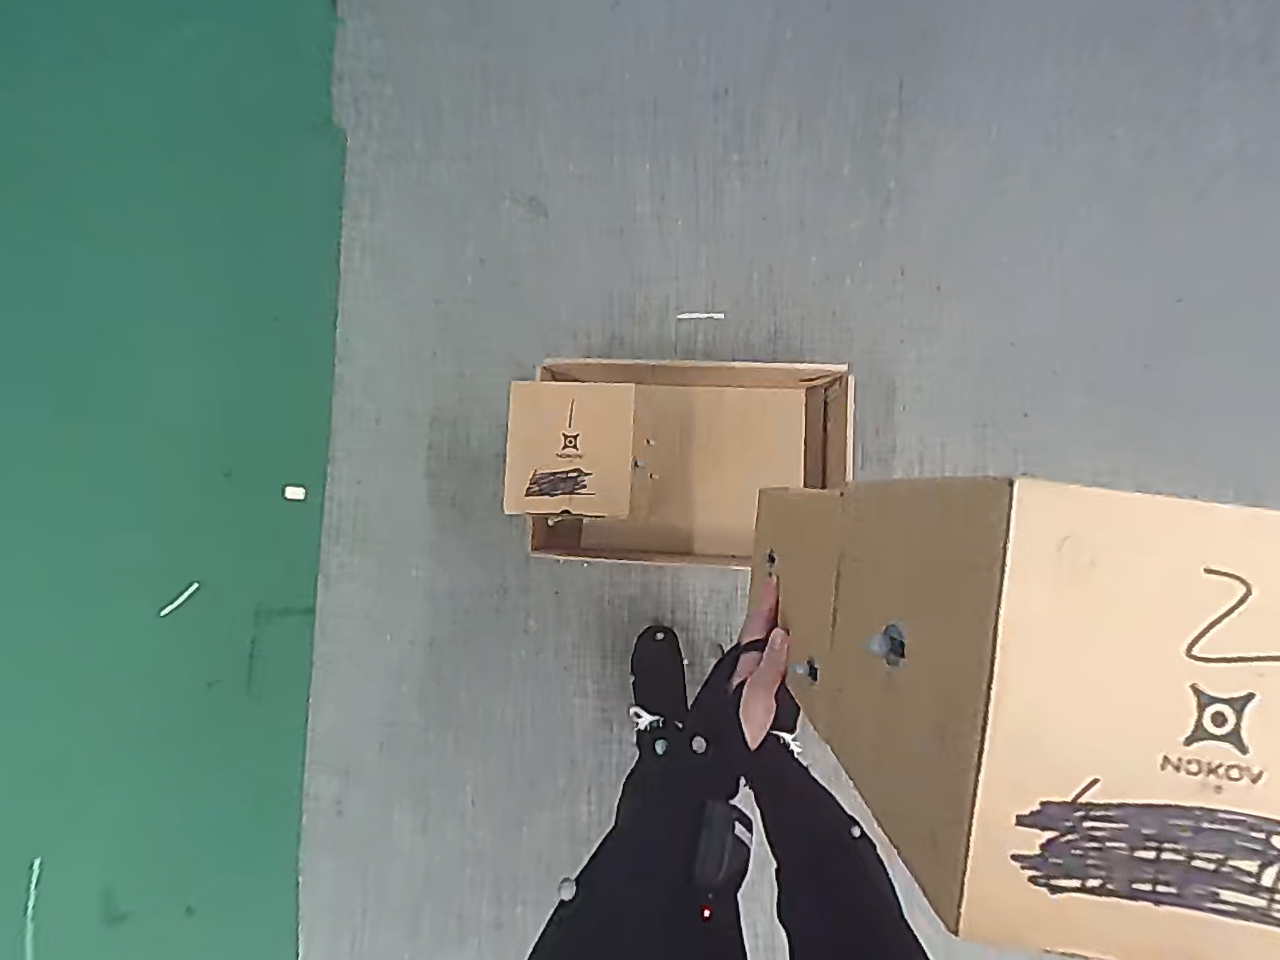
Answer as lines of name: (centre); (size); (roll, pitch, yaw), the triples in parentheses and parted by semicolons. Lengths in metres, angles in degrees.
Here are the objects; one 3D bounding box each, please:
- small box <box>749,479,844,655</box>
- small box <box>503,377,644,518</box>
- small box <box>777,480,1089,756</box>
small box: (0.223, 0.095, 0.607); (0.168, 0.176, 0.179); (6, 90, 3)
small box: (-0.083, -0.037, 0.765); (0.168, 0.176, 0.179); (2, 85, 4)
small box: (0.216, 0.094, 0.445); (0.168, 0.176, 0.179); (4, 90, 2)
